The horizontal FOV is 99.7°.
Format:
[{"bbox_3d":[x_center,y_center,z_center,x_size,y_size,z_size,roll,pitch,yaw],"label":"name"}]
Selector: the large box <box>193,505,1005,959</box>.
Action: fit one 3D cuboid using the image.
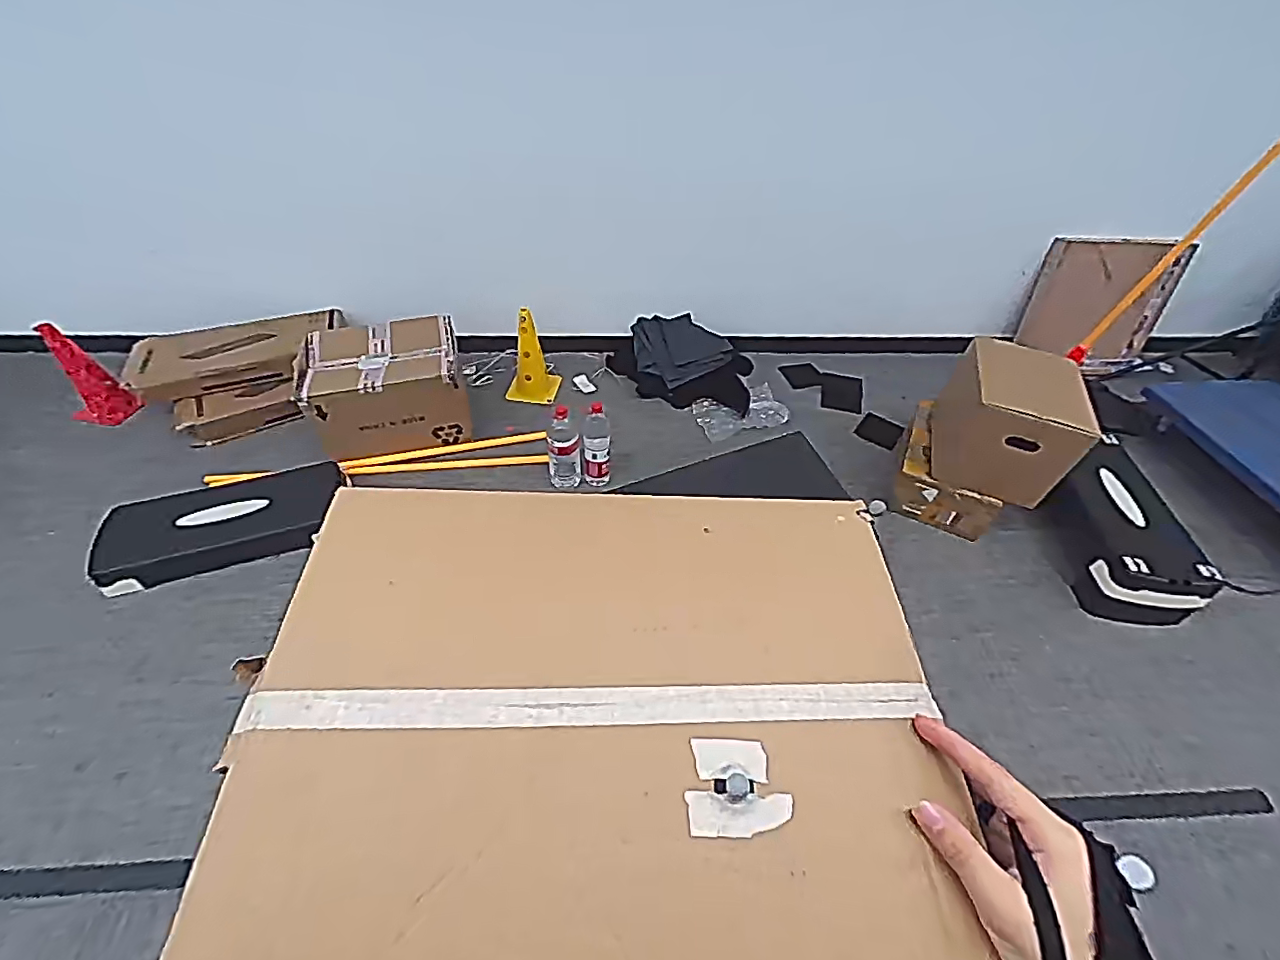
[{"bbox_3d":[-0.031,0.235,0.449,0.408,0.320,0.320,2,53,-6],"label":"large box"}]
